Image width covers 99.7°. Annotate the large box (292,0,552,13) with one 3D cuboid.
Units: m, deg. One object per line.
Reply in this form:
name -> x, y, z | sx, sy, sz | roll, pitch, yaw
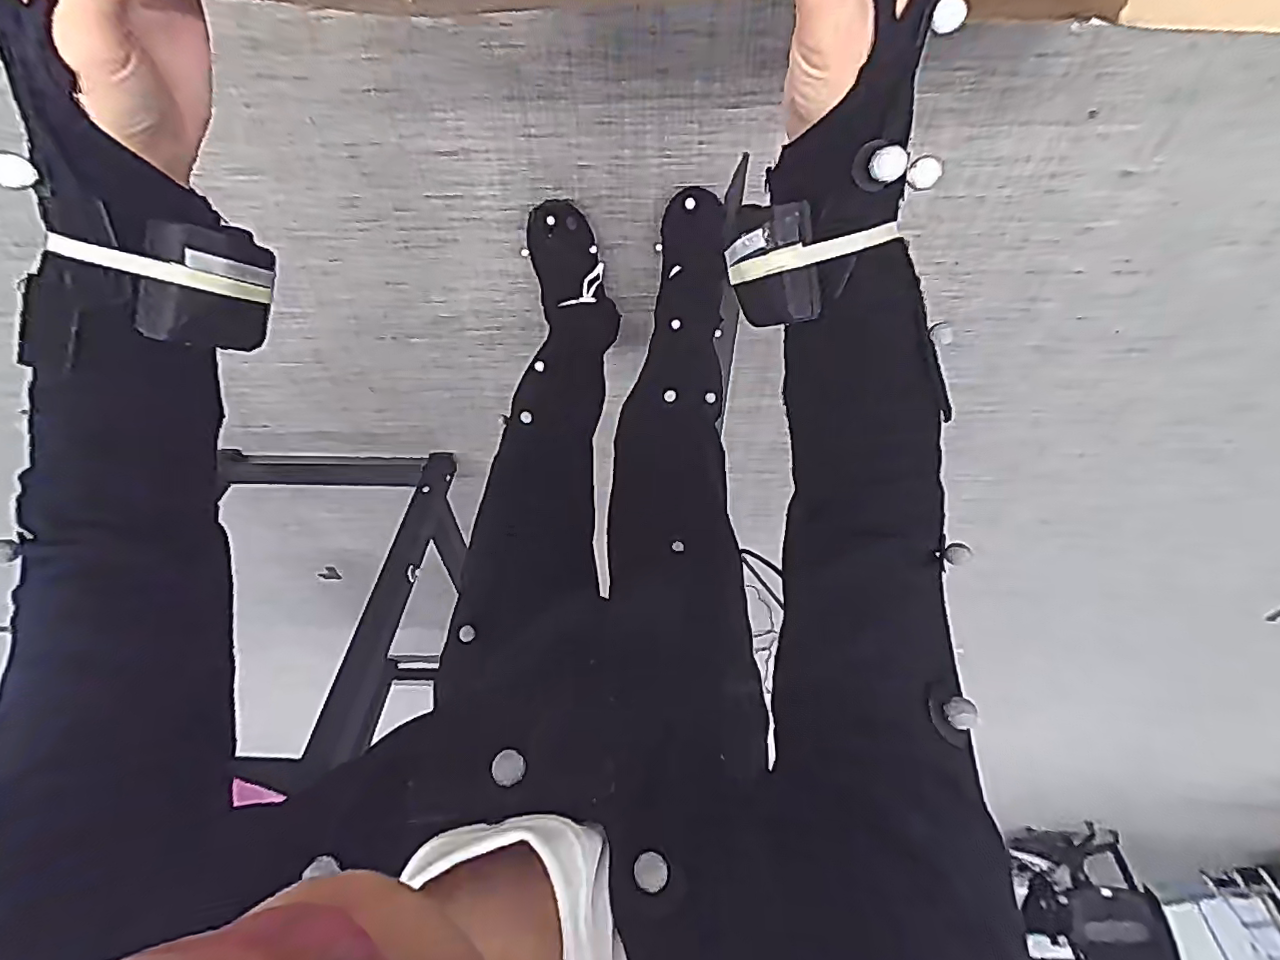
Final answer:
large box -> -0.053, -0.451, 0.196 | 0.320, 0.320, 0.408 | -1, 129, 4
